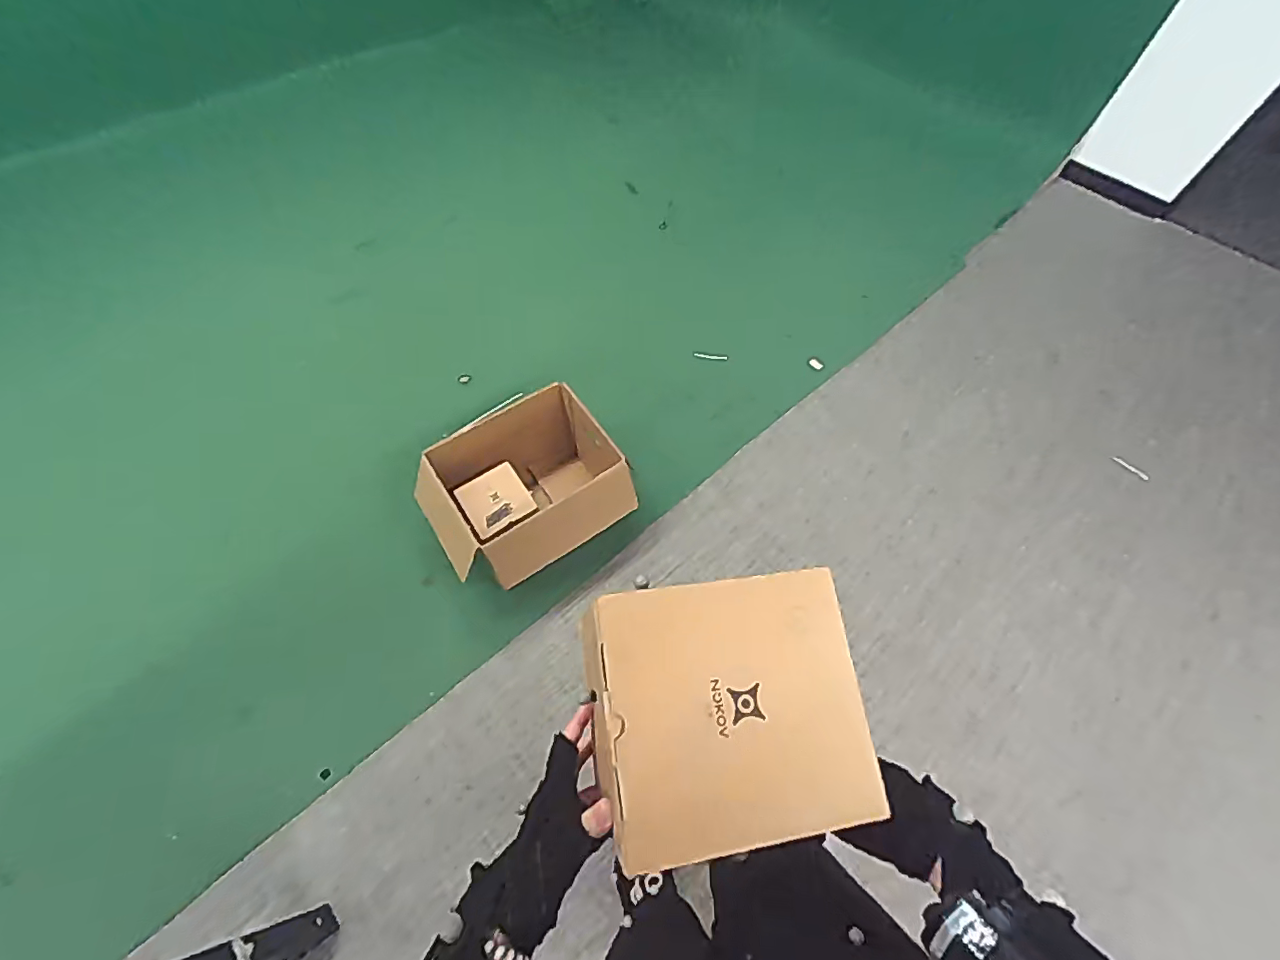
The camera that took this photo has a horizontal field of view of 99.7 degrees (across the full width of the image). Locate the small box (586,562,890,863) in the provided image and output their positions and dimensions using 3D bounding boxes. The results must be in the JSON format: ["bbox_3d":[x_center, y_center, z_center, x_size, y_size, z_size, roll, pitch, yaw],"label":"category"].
[{"bbox_3d":[0.056,0.165,0.430,0.179,0.176,0.168,-5,73,-10],"label":"small box"}]
